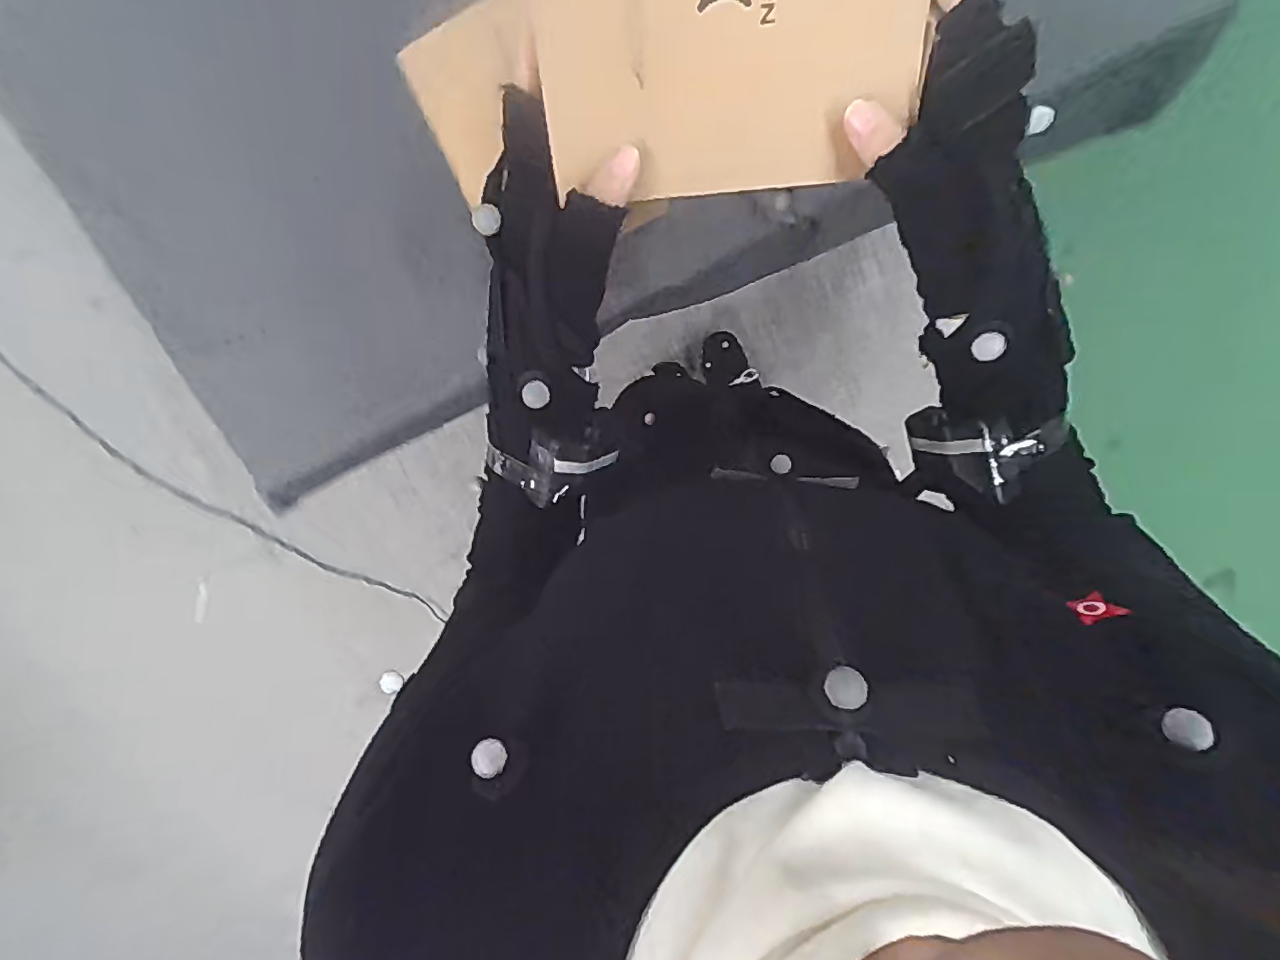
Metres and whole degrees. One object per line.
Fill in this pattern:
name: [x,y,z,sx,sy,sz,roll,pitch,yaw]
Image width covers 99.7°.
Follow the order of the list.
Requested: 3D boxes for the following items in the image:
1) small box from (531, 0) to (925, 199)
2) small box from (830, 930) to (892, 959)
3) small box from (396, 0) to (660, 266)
small box: [0.038,-0.258,0.301,0.179,0.176,0.168,-4,118,3]
small box: [0.755,1.638,1.779,0.179,0.176,0.168,-27,104,9]
small box: [-0.088,-0.328,0.530,0.168,0.176,0.179,-27,103,11]
